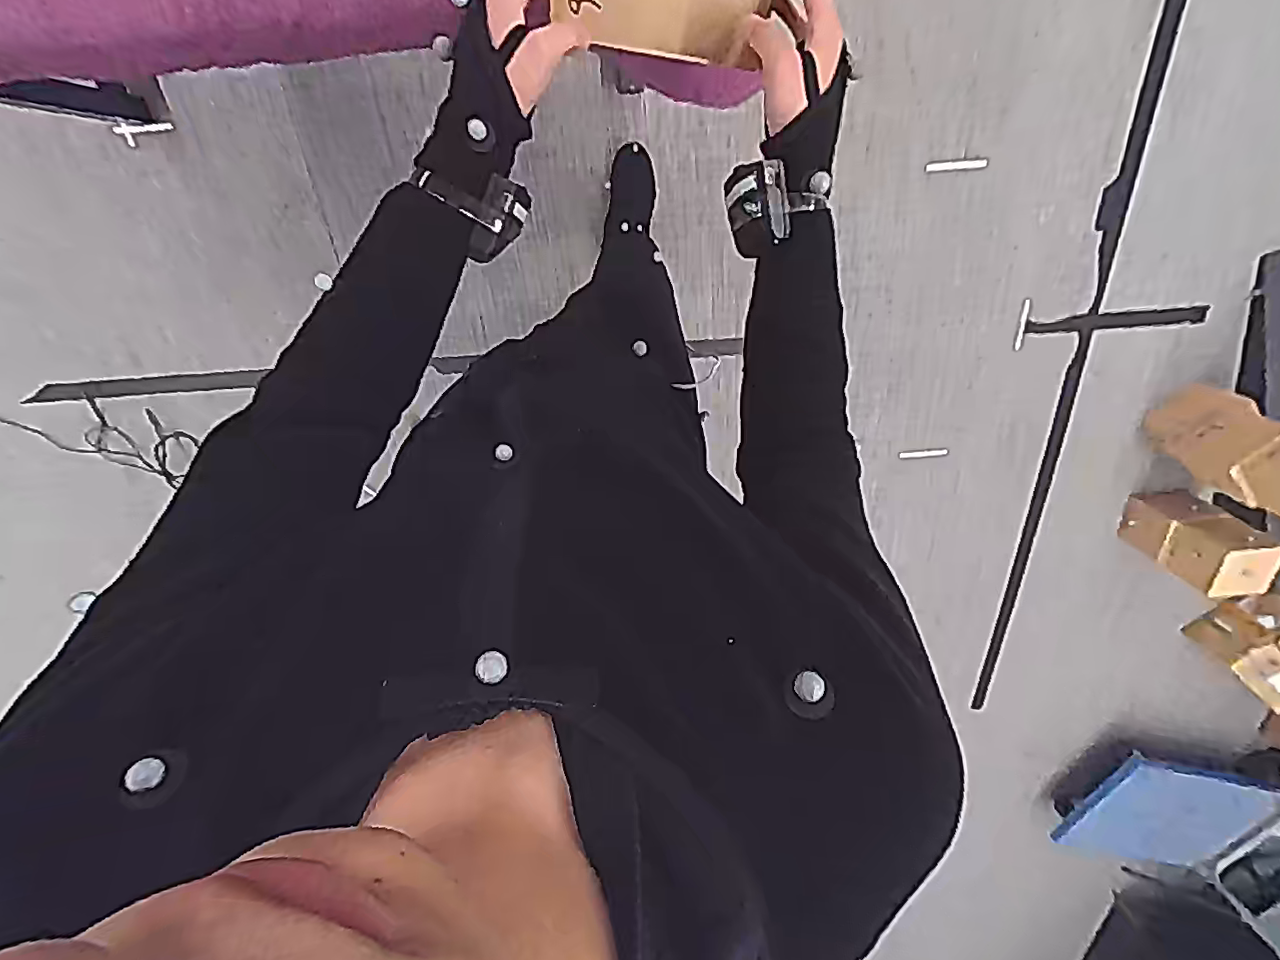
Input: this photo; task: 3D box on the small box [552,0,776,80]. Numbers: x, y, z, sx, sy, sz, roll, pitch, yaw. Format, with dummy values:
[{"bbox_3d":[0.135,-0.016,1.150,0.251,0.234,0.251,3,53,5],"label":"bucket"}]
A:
[{"bbox_3d":[0.021,-0.465,0.441,0.179,0.176,0.168,3,142,-10],"label":"small box"}]
